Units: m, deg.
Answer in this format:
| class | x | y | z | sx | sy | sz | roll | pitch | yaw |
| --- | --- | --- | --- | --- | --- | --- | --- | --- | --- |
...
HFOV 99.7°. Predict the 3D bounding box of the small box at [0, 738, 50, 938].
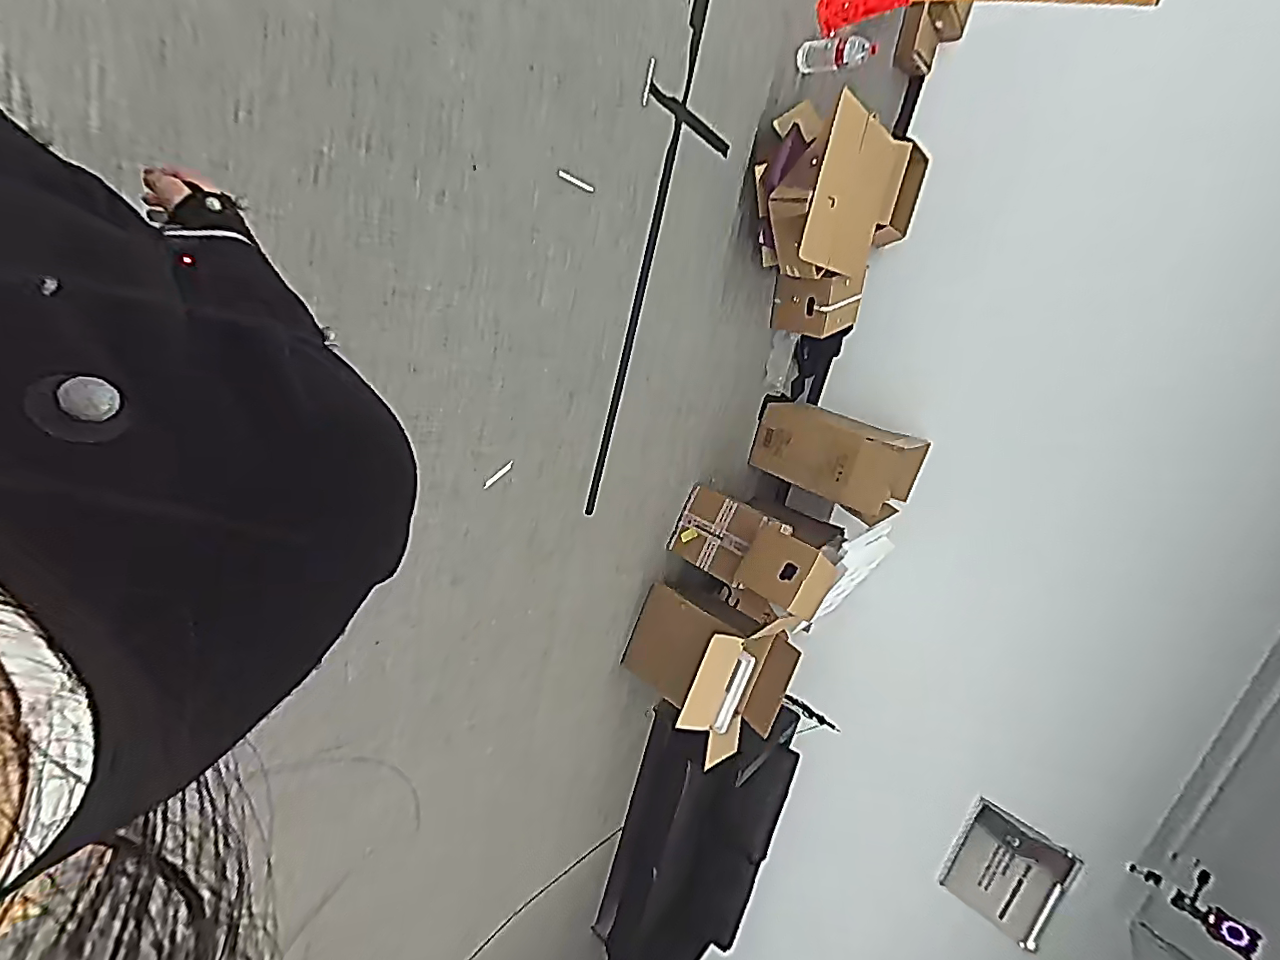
| class | x | y | z | sx | sy | sz | roll | pitch | yaw |
| --- | --- | --- | --- | --- | --- | --- | --- | --- | --- |
| small box | -0.832 | 0.440 | 0.640 | 0.168 | 0.176 | 0.179 | 0 | 111 | -51 |
